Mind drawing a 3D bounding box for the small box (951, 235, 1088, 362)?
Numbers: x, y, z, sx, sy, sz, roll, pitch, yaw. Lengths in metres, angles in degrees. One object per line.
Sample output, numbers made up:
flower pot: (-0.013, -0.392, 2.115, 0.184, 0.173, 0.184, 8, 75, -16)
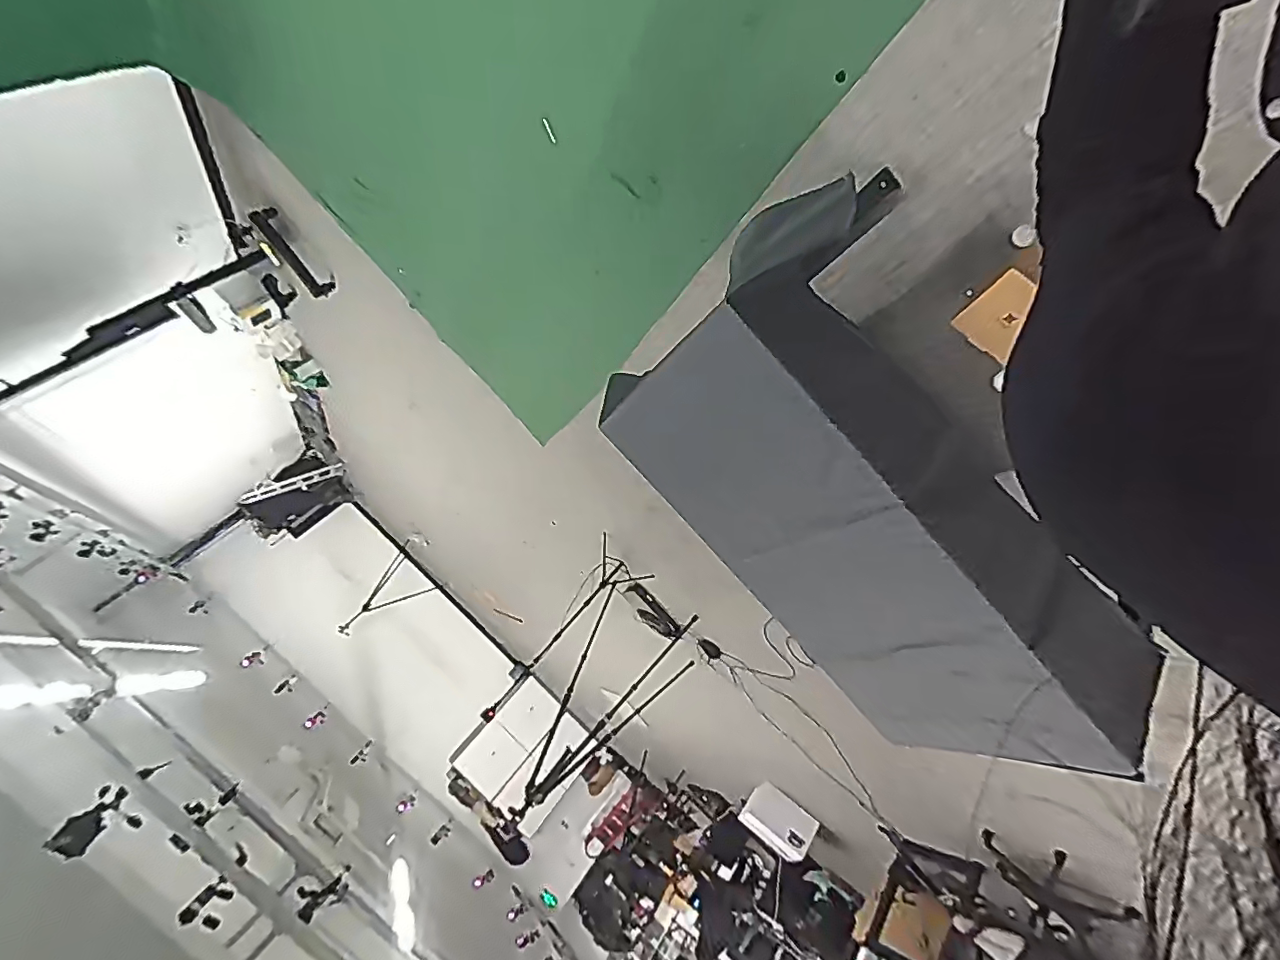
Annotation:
small box: (0.860, -0.410, 1.227, 0.168, 0.176, 0.179, 40, 151, 5)
